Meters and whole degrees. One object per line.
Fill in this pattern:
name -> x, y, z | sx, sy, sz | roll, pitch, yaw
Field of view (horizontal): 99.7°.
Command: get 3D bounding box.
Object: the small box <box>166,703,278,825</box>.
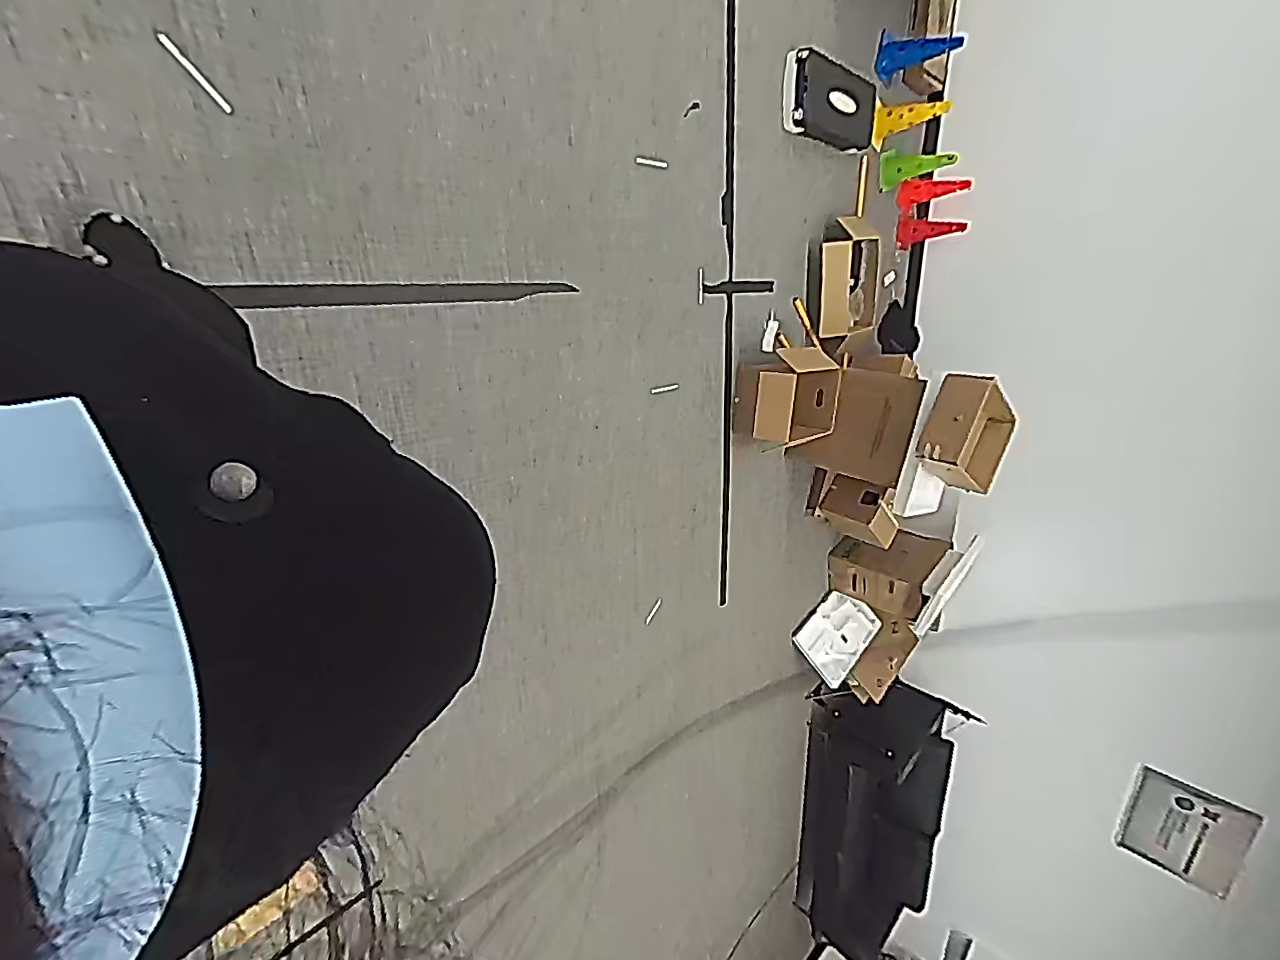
small box -> -1.003, 0.678, 1.298 | 0.168, 0.176, 0.179 | -22, 117, -40

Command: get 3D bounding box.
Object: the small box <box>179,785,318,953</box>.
small box -> -0.775, 0.757, 1.073 | 0.168, 0.176, 0.179 | -26, 119, -39
